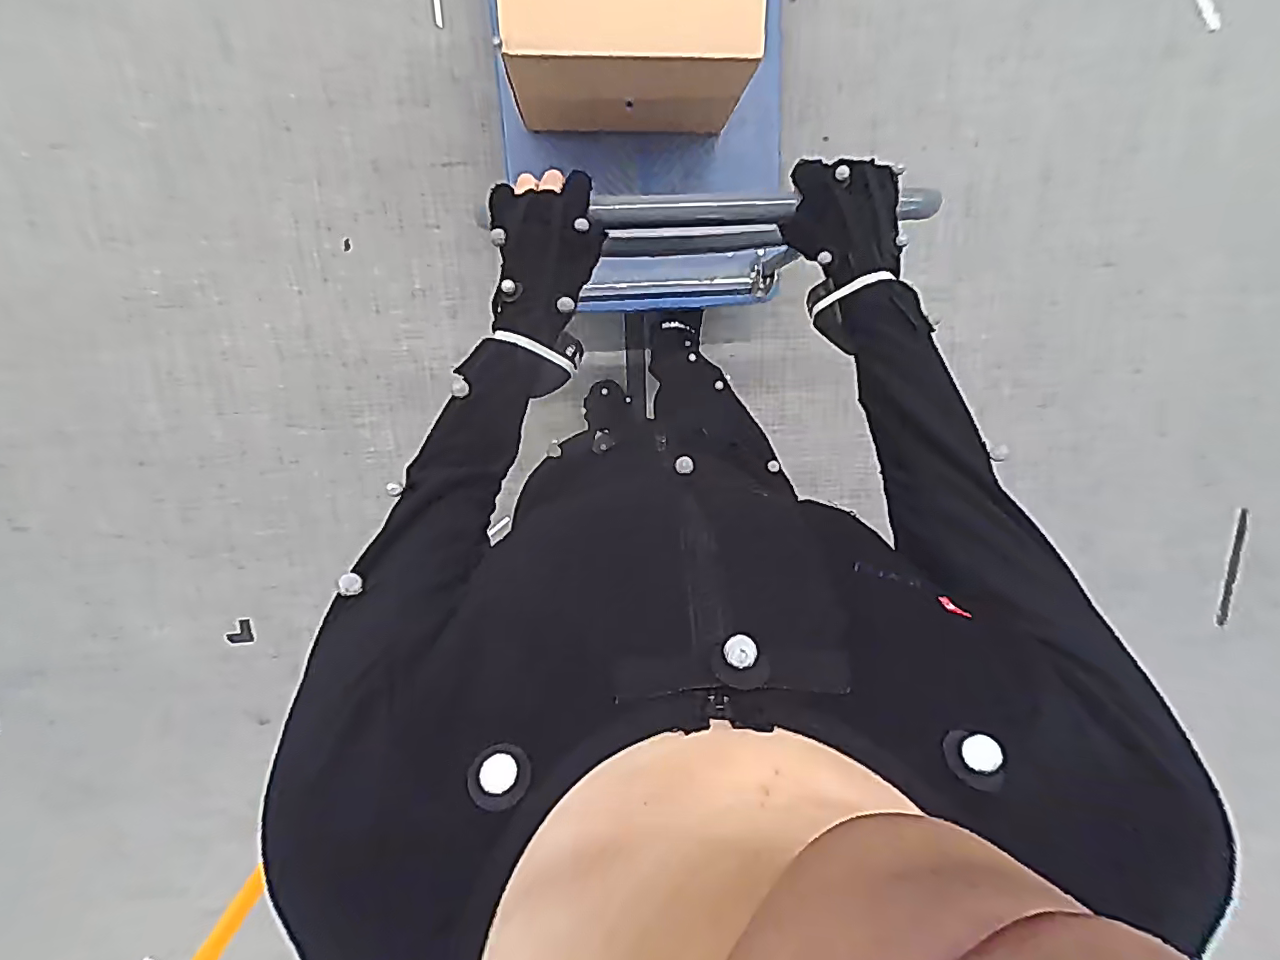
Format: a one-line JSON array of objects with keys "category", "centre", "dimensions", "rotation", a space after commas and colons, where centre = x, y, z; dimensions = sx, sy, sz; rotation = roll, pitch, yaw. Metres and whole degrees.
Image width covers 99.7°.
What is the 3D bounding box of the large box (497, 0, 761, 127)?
[{"category": "large box", "centre": [-0.025, -0.837, 0.933], "dimensions": [0.408, 0.320, 0.320], "rotation": [-2, 104, -3]}]
